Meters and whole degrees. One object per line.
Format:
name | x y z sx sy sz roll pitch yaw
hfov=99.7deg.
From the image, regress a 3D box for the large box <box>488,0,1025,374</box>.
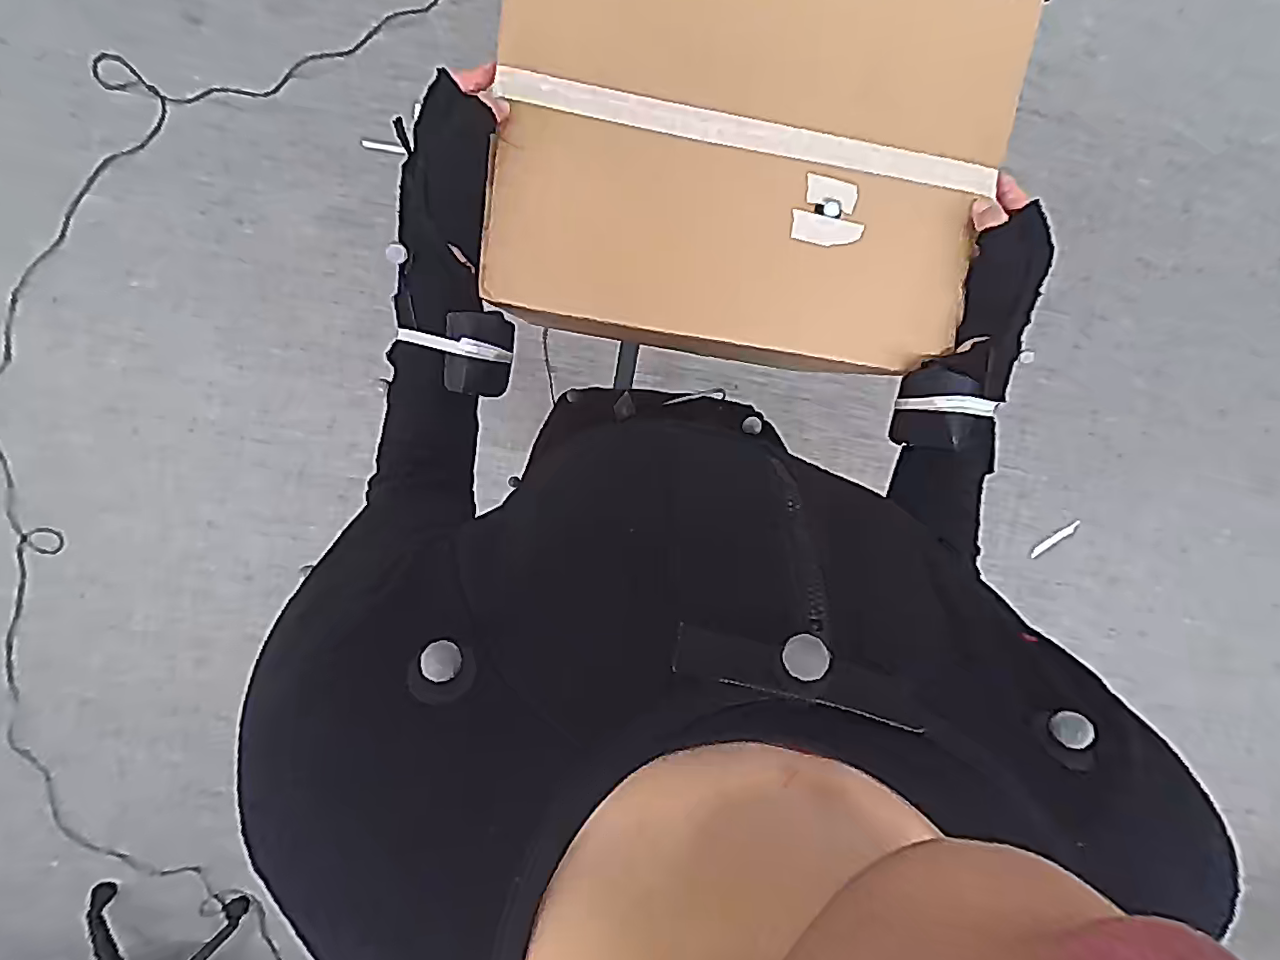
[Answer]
large box | 0.075 -0.299 0.579 0.408 0.320 0.320 8 103 -7
